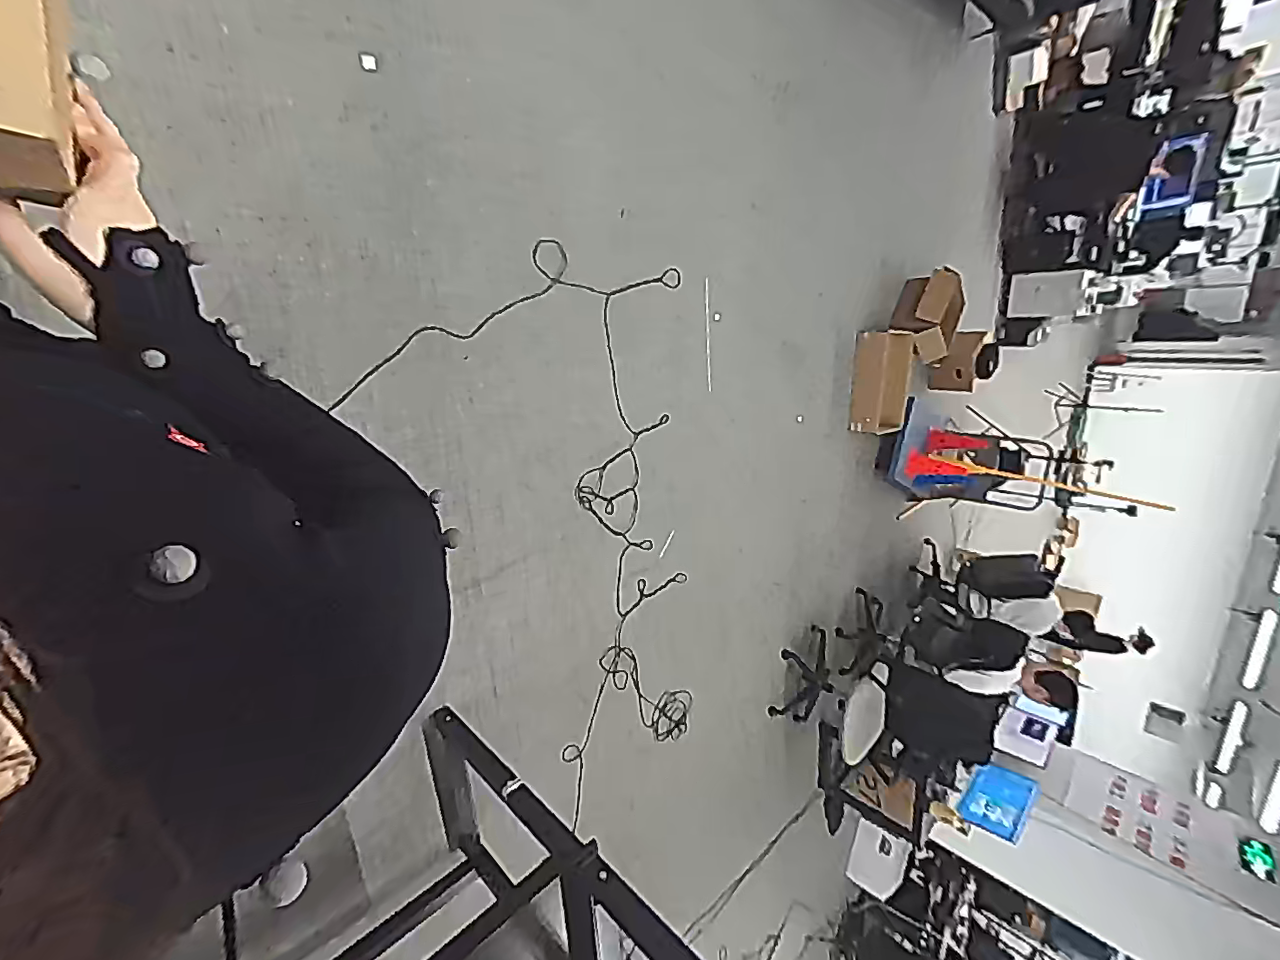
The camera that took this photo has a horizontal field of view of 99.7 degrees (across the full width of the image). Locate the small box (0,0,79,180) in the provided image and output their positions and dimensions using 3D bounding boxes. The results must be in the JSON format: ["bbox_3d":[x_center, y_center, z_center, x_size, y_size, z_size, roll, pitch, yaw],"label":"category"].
[{"bbox_3d":[-0.378,-0.256,0.234,0.179,0.176,0.168,-4,102,-43],"label":"small box"}]
